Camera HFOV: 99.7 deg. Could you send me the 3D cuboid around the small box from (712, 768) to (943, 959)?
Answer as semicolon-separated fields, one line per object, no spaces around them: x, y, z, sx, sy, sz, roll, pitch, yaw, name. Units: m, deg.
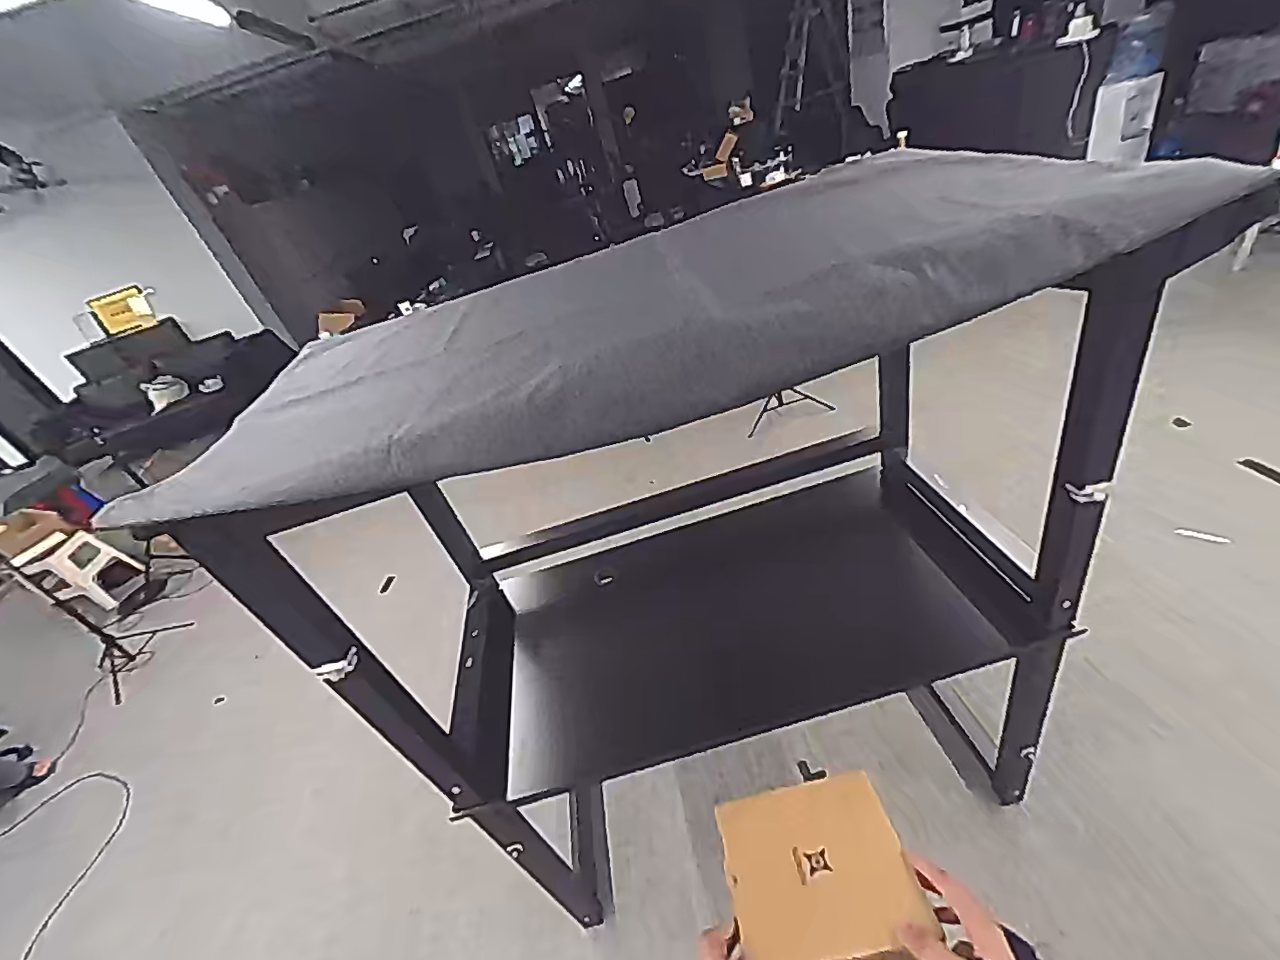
0.187;0.441;0.559;0.179;0.176;0.168;-16;22;5;small box
